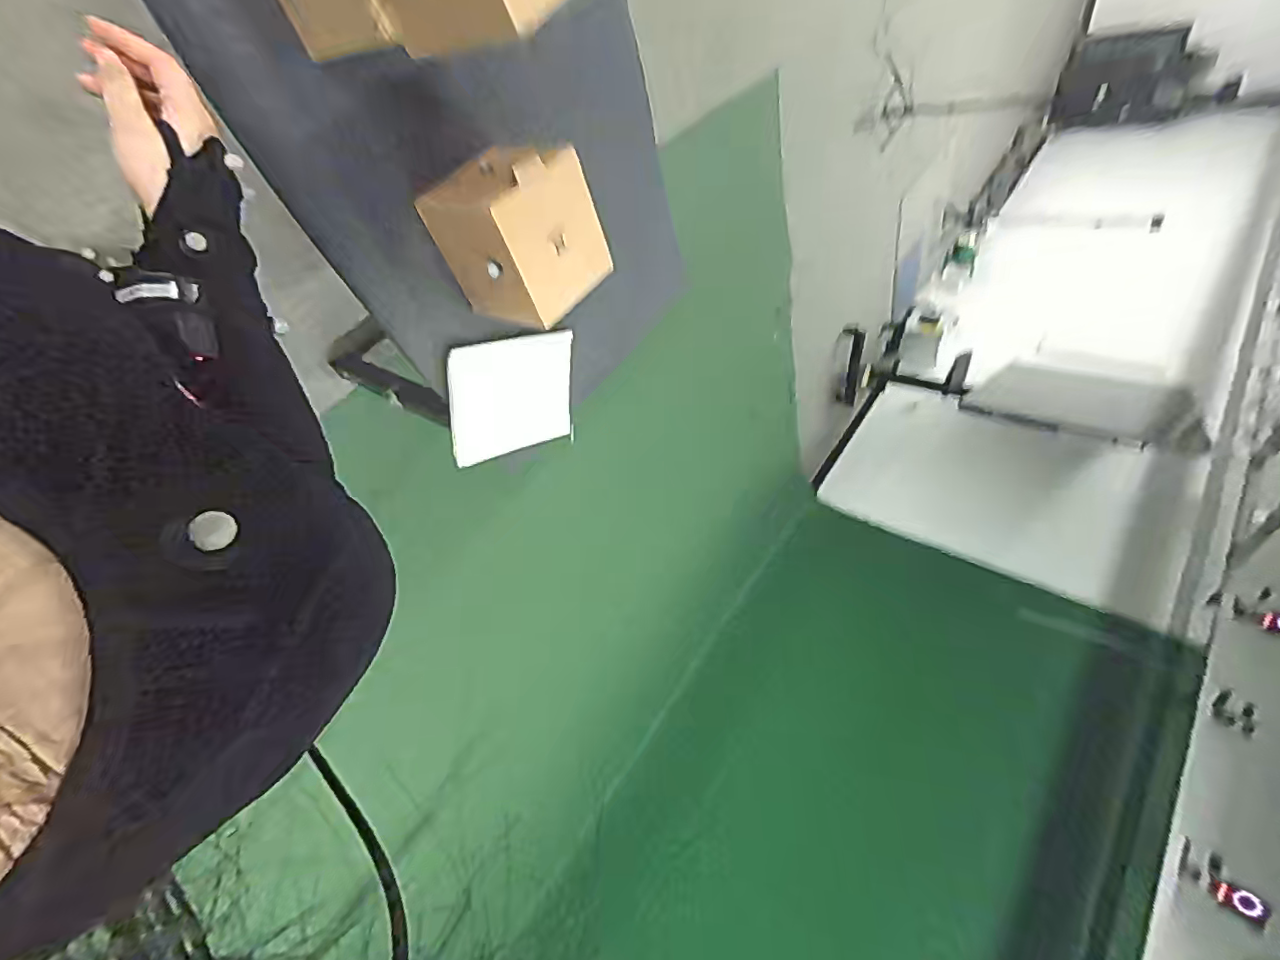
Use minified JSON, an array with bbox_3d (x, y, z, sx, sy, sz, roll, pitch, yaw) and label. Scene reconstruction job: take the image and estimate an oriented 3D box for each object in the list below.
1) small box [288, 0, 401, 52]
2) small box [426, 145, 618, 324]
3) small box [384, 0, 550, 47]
[{"bbox_3d":[-0.262,-0.557,0.535,0.179,0.176,0.168,-47,140,-26],"label":"small box"},{"bbox_3d":[-0.165,-0.355,0.778,0.168,0.176,0.179,-50,141,-23],"label":"small box"},{"bbox_3d":[-0.139,-0.501,0.445,0.179,0.176,0.168,-54,142,-17],"label":"small box"}]
